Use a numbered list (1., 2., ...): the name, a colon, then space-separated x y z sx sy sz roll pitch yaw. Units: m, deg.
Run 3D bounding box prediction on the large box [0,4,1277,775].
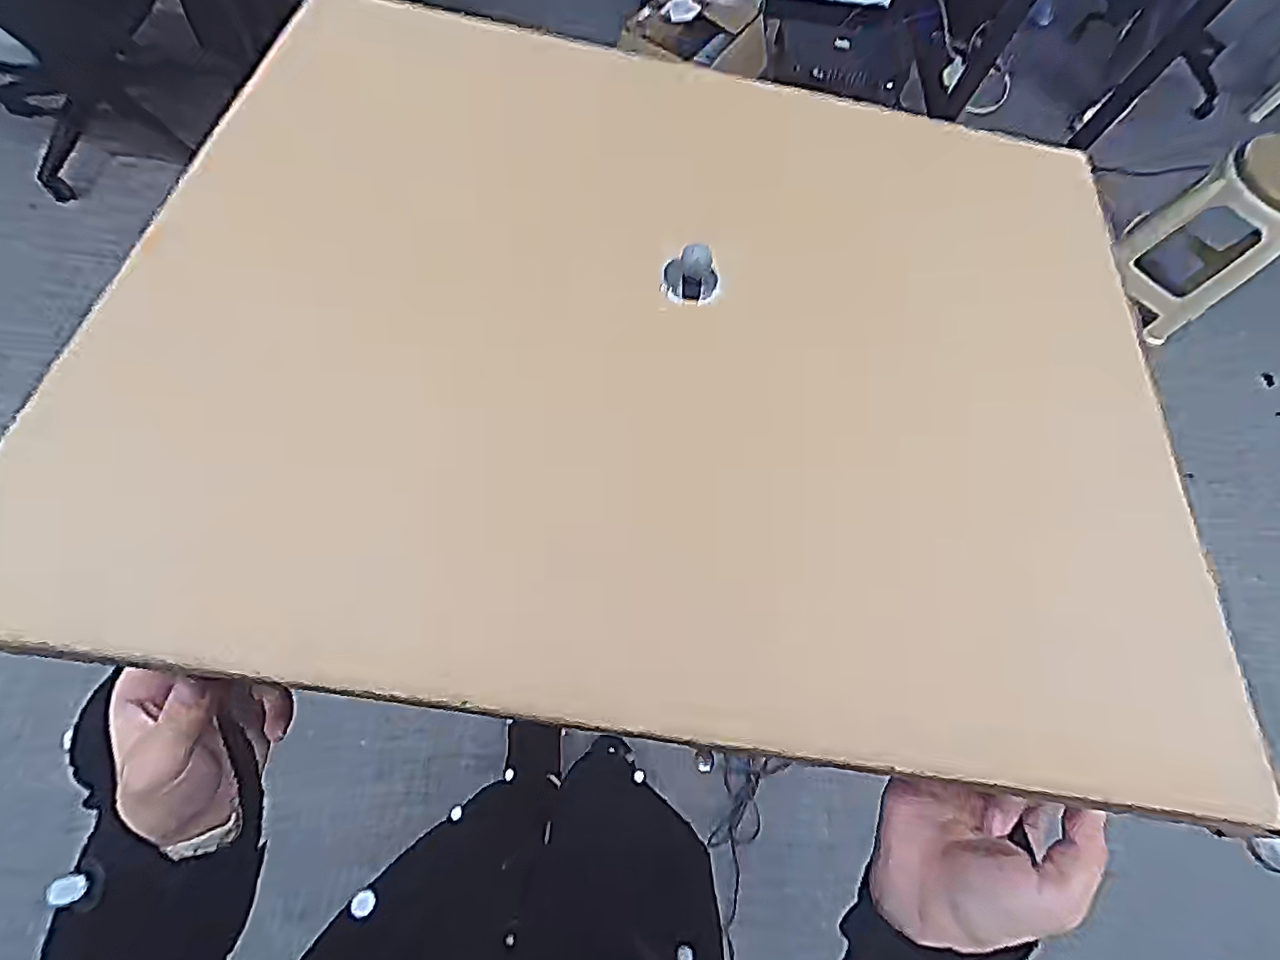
1. large box: 0.000 -0.020 0.352 0.408 0.320 0.320 9 68 -2
